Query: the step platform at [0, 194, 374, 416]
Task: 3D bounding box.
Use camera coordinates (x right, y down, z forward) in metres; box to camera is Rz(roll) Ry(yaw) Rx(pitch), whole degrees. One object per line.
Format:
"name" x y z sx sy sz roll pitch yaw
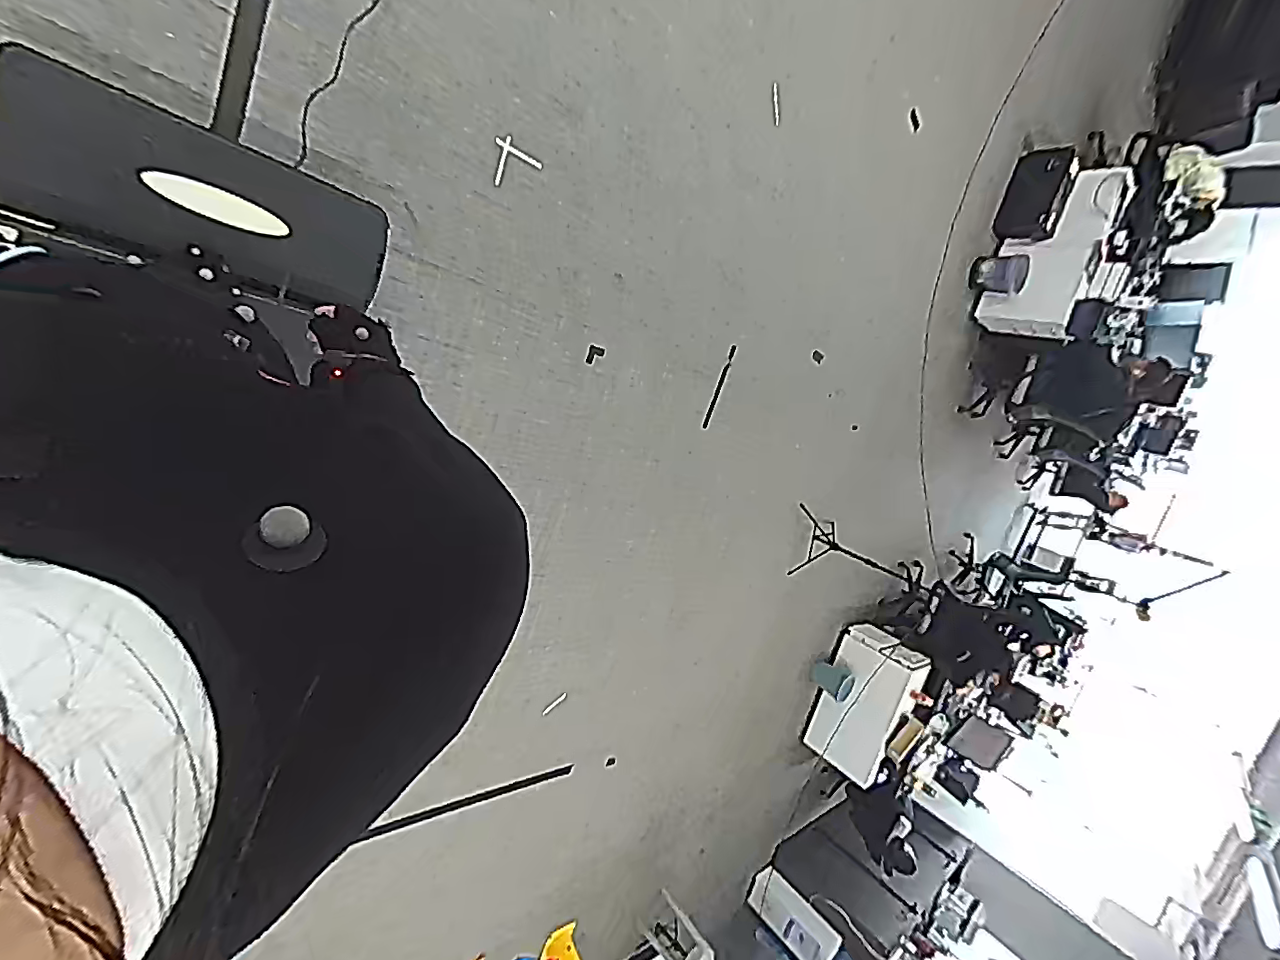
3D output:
"step platform" -0.966 -0.342 1.184 0.684 0.204 0.286 9 102 -43
